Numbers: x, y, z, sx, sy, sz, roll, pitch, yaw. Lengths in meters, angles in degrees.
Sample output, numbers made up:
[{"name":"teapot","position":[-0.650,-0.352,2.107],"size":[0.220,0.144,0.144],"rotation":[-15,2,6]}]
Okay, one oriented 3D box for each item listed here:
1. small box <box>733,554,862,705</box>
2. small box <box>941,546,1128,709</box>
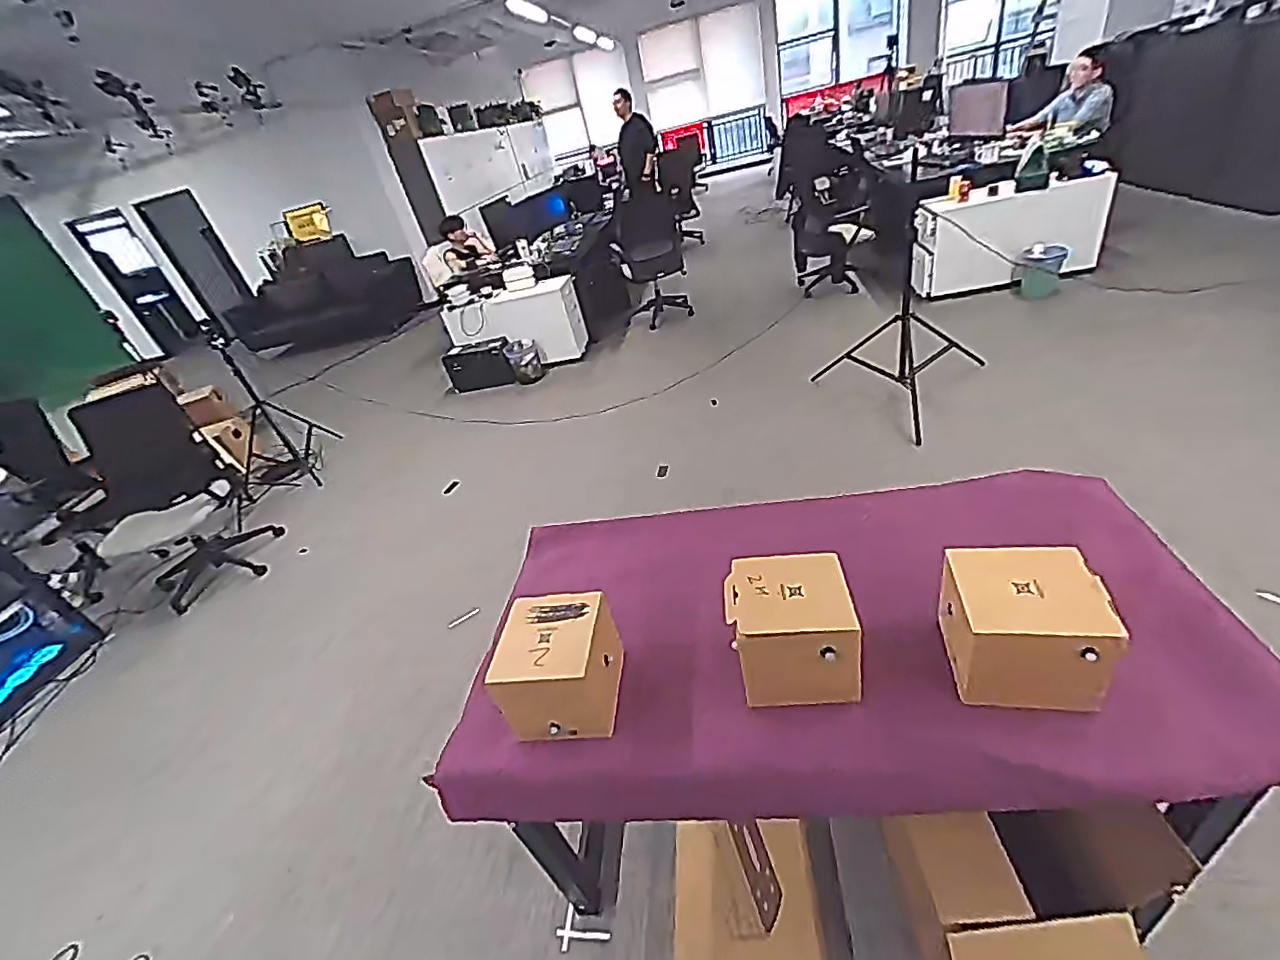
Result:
[{"name":"small box","position":[0.250,0.243,0.877],"size":[0.179,0.176,0.168],"rotation":[-8,32,11]},{"name":"small box","position":[0.557,0.215,0.796],"size":[0.179,0.176,0.168],"rotation":[-4,35,17]}]
